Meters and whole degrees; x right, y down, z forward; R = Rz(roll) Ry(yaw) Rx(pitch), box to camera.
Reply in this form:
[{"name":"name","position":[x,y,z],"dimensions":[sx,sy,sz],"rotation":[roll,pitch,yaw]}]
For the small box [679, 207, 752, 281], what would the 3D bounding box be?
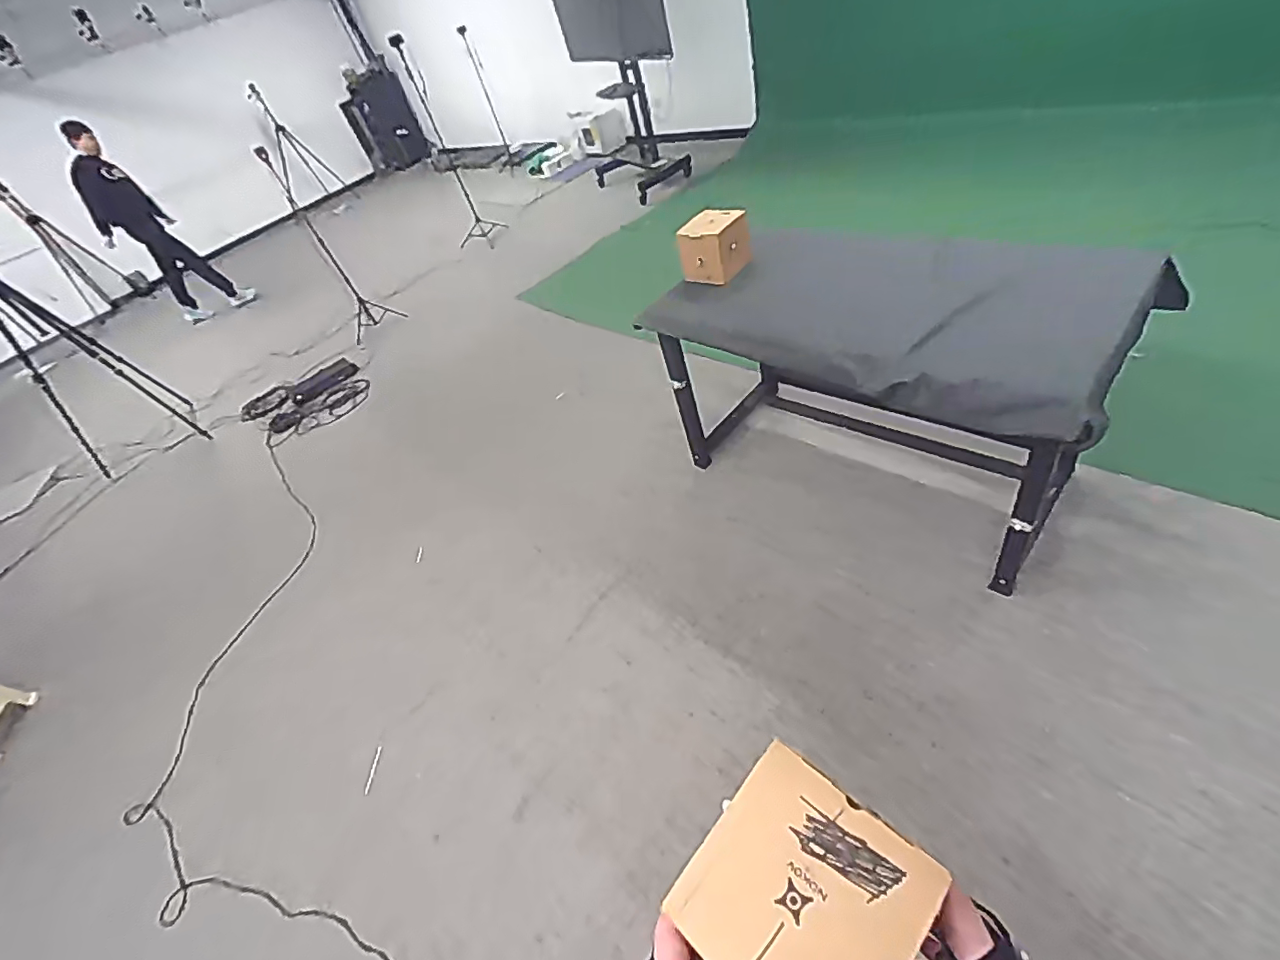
[{"name":"small box","position":[0.259,-0.785,1.800],"dimensions":[0.168,0.176,0.179],"rotation":[22,59,36]}]
